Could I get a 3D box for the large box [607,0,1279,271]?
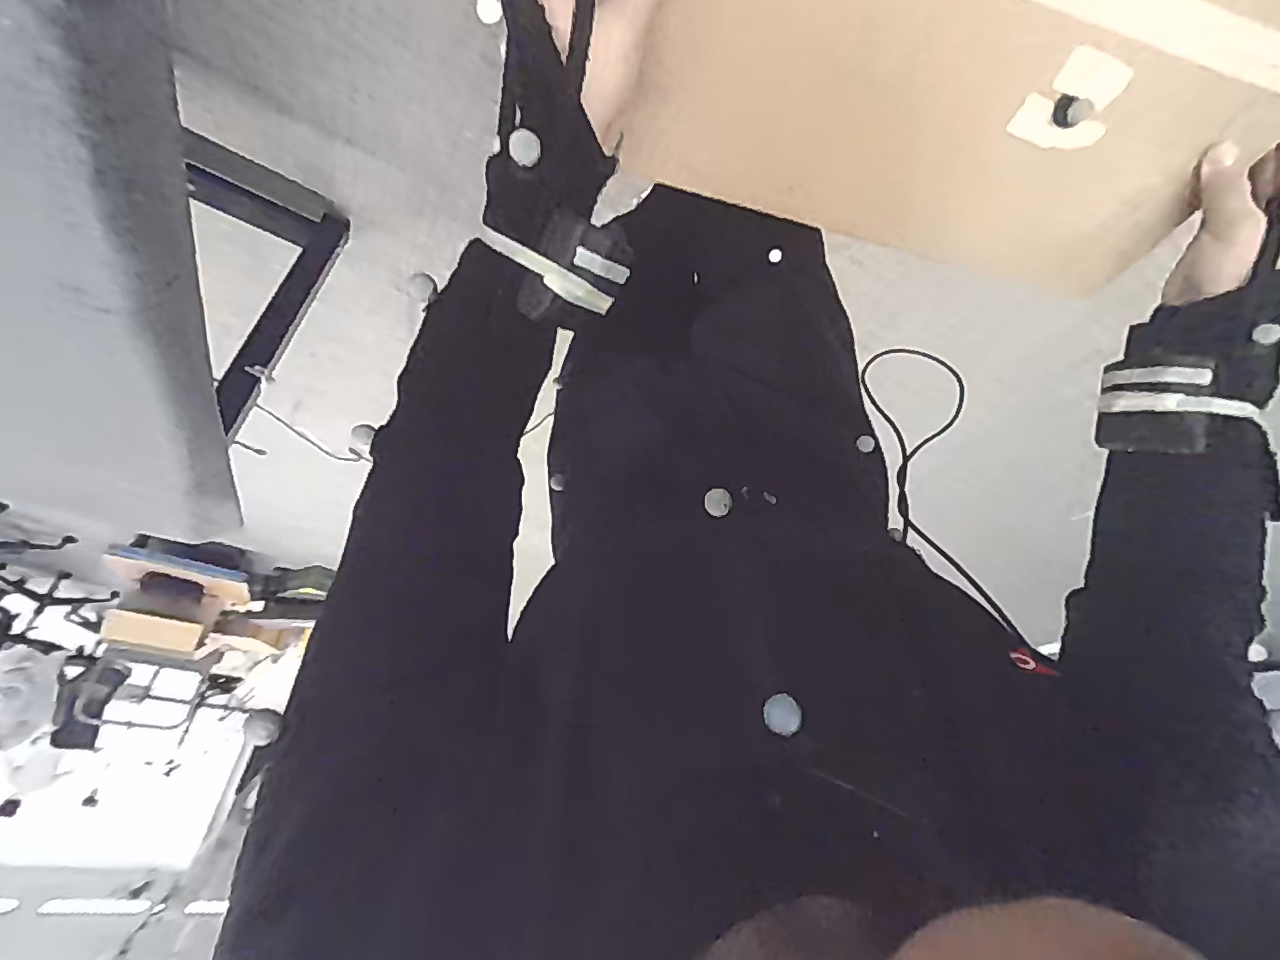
[{"bbox_3d":[0.204,-0.395,0.351,0.408,0.320,0.320,9,147,-10],"label":"large box"}]
